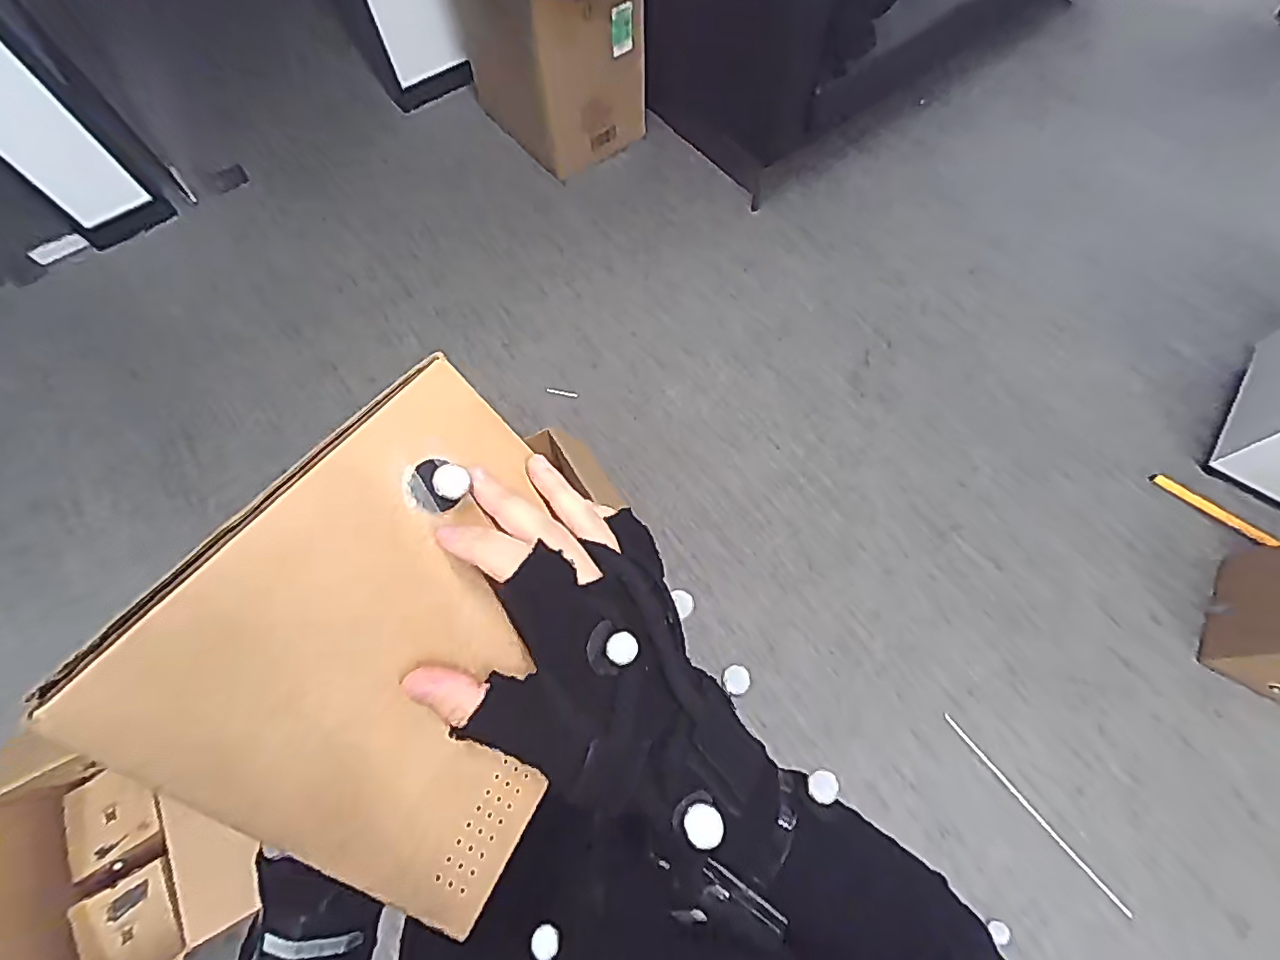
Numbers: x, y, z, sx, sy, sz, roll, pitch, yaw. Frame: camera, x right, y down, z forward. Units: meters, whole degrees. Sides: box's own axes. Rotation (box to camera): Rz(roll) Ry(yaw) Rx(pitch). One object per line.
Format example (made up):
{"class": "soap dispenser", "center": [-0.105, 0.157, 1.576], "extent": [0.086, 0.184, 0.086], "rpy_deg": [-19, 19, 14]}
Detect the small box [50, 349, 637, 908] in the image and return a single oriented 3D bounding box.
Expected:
{"class": "small box", "center": [-0.127, 0.068, 0.284], "extent": [0.176, 0.168, 0.179], "rpy_deg": [49, 52, -24]}
